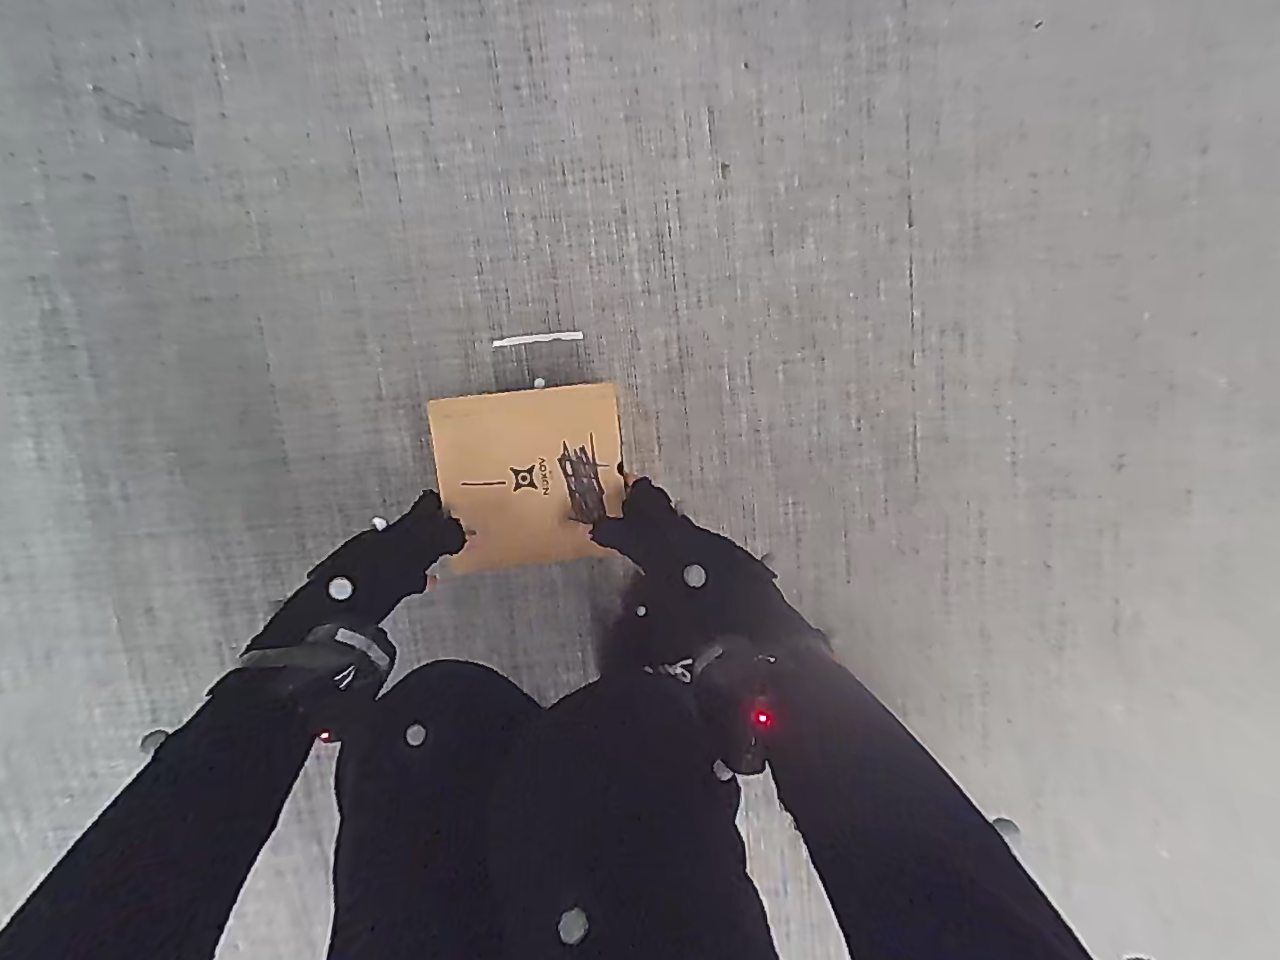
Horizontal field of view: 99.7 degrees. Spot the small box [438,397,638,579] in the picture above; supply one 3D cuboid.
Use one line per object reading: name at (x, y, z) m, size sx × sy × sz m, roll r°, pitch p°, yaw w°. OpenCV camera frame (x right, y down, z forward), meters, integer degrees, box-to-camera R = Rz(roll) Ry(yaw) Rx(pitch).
small box at (-0.100, -0.001, 0.589) m, size 0.179 × 0.176 × 0.168 m, roll -5°, pitch 95°, yaw -3°
